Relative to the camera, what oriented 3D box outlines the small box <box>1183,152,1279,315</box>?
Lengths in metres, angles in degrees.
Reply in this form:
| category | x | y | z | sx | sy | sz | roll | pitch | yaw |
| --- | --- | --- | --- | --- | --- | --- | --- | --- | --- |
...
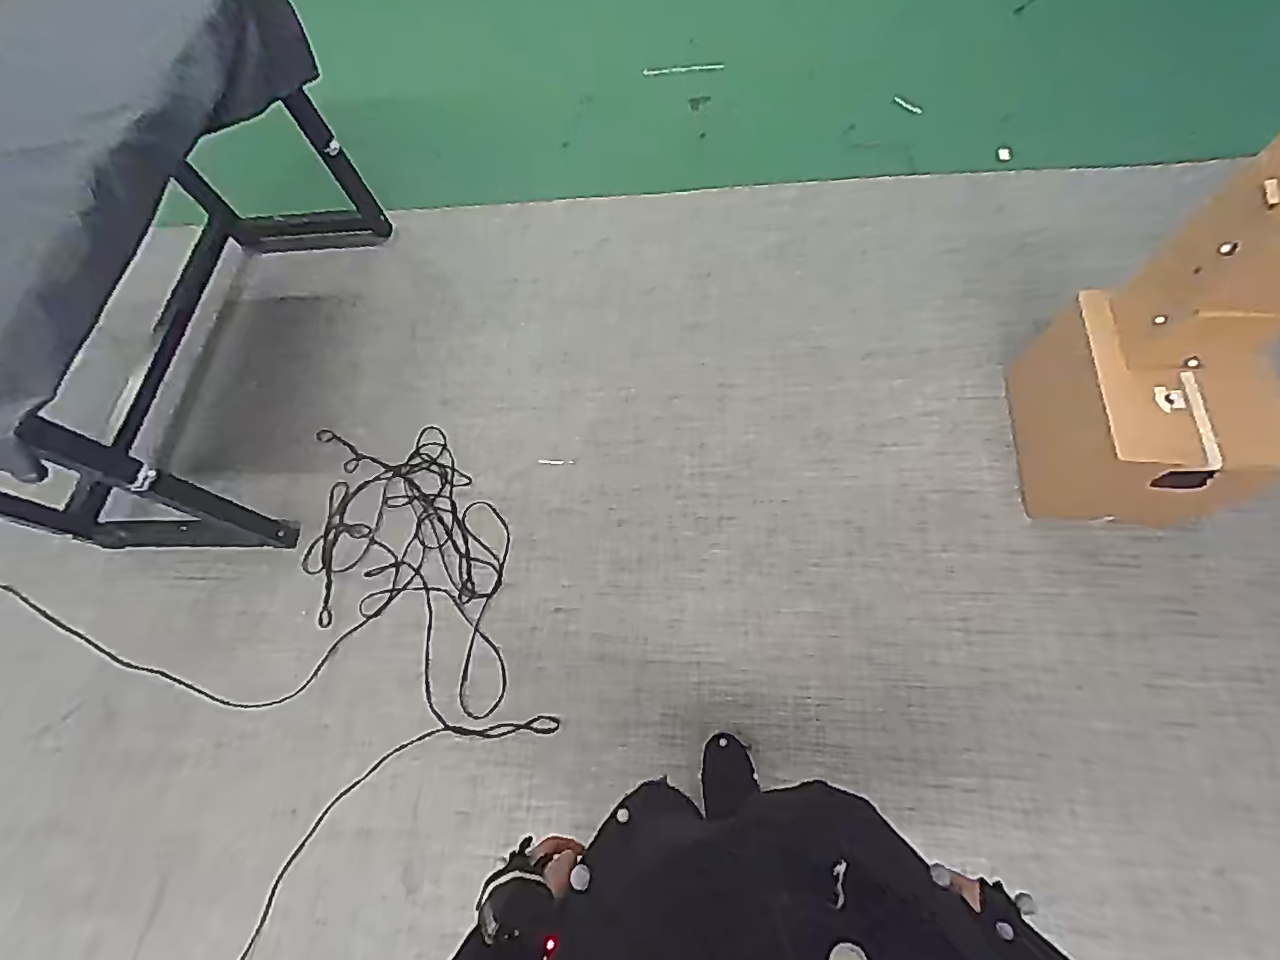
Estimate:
| category | x | y | z | sx | sy | sz | roll | pitch | yaw |
| --- | --- | --- | --- | --- | --- | --- | --- | --- | --- |
| small box | 1.008 | -0.377 | 0.843 | 0.179 | 0.176 | 0.168 | 7 | 70 | 9 |

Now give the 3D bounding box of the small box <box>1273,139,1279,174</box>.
| category | x | y | z | sx | sy | sz | roll | pitch | yaw |
| --- | --- | --- | --- | --- | --- | --- | --- | --- | --- |
| small box | 0.991 | -0.439 | 0.693 | 0.168 | 0.176 | 0.179 | 8 | 71 | 9 |

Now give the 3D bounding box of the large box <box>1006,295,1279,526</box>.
| category | x | y | z | sx | sy | sz | roll | pitch | yaw |
| --- | --- | --- | --- | --- | --- | --- | --- | --- | --- |
| large box | 1.064 | -0.143 | 1.181 | 0.320 | 0.320 | 0.408 | 3 | 68 | 9 |
